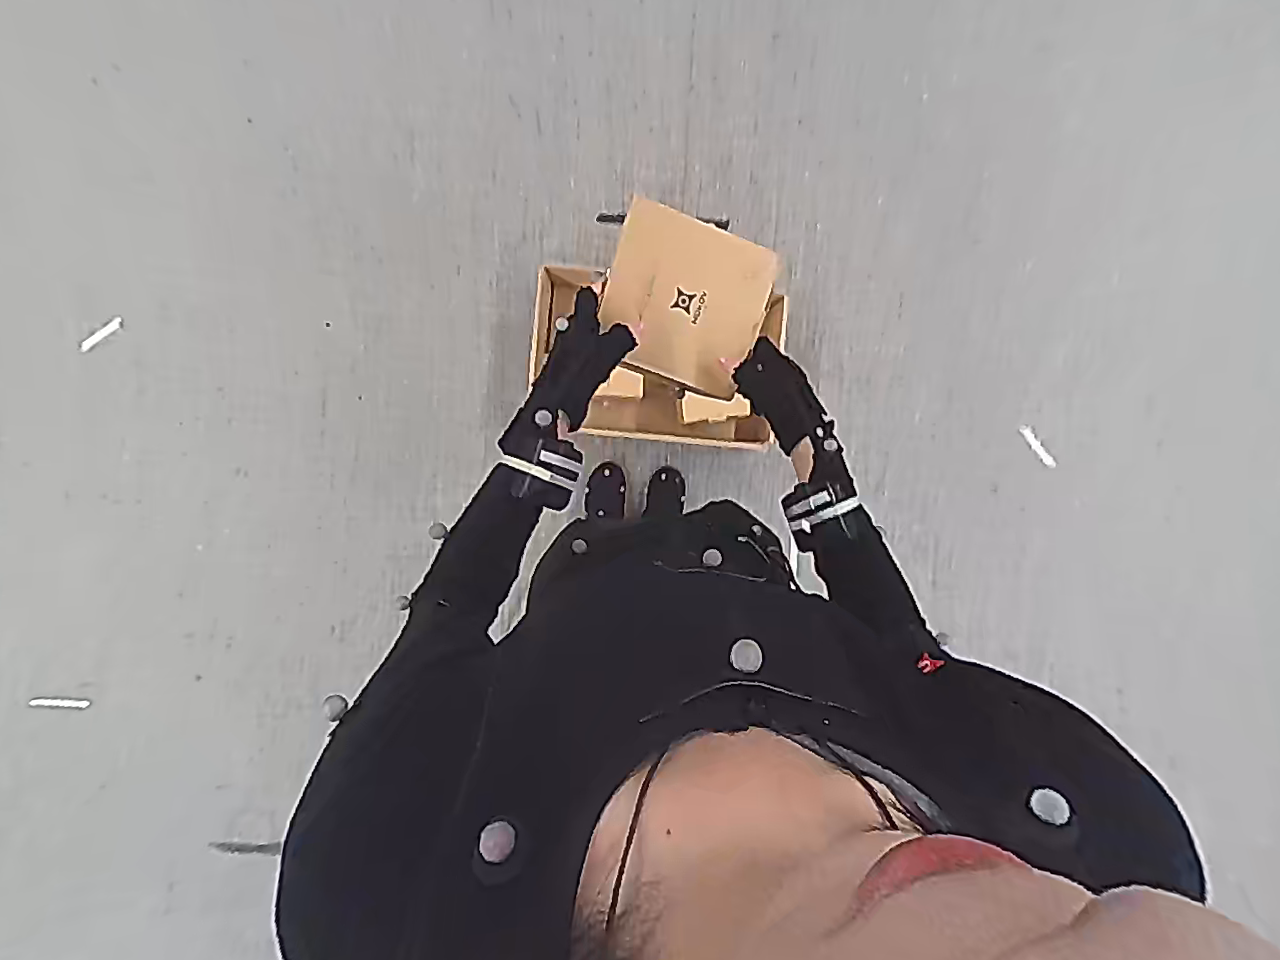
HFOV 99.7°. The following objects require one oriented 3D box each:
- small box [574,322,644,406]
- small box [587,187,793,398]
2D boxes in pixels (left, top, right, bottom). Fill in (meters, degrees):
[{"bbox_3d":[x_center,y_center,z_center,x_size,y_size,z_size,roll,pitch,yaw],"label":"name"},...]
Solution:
[{"bbox_3d":[-0.077,-0.287,1.365,0.168,0.176,0.179,3,93,-4],"label":"small box"},{"bbox_3d":[0.044,-0.206,0.637,0.179,0.176,0.168,17,98,-10],"label":"small box"}]
